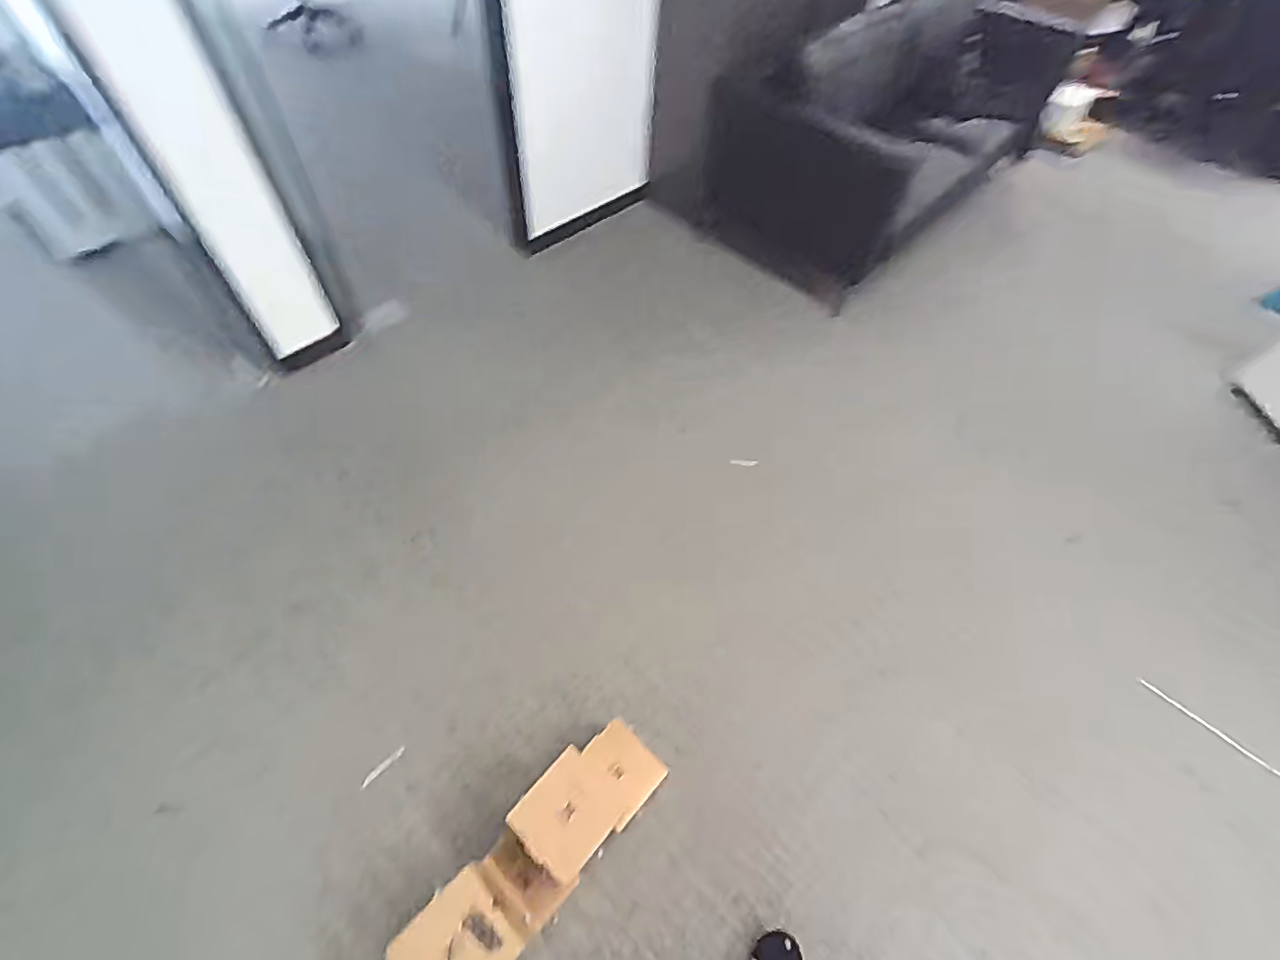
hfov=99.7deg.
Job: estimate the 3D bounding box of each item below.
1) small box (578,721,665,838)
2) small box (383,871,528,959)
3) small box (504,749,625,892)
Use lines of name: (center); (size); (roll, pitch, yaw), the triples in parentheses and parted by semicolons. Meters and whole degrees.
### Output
small box: (-0.062, 0.712, 1.286); (0.179, 0.176, 0.168); (39, 60, 21)
small box: (-0.316, 0.841, 0.967); (0.179, 0.176, 0.168); (-38, 65, -26)
small box: (-0.148, 0.689, 1.093); (0.168, 0.176, 0.179); (37, 58, 20)
